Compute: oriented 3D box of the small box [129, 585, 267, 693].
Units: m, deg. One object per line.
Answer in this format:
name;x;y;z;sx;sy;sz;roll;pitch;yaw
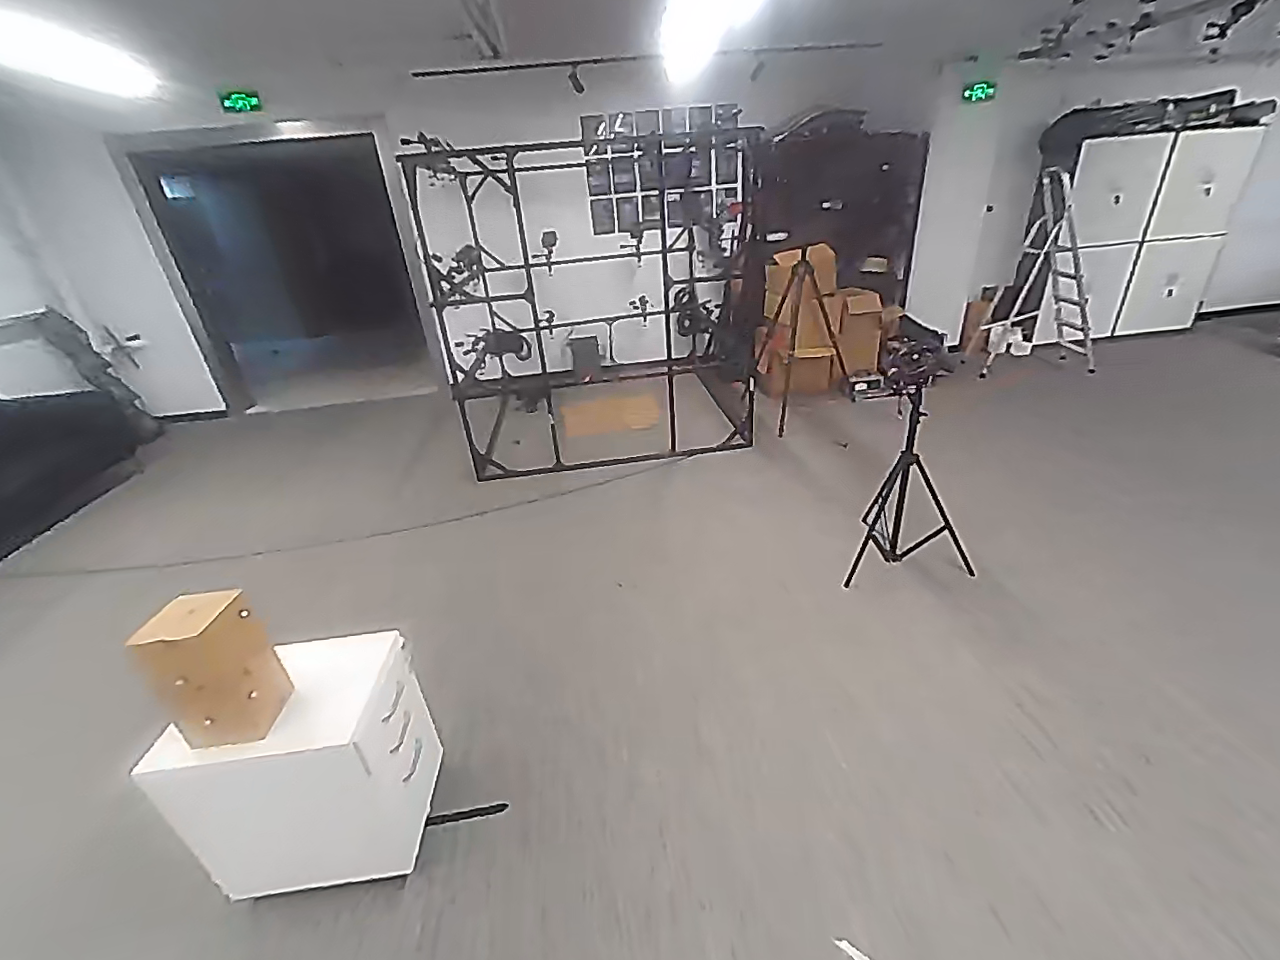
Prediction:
small box;-1.034;0.376;1.289;0.168;0.176;0.179;-6;27;0
